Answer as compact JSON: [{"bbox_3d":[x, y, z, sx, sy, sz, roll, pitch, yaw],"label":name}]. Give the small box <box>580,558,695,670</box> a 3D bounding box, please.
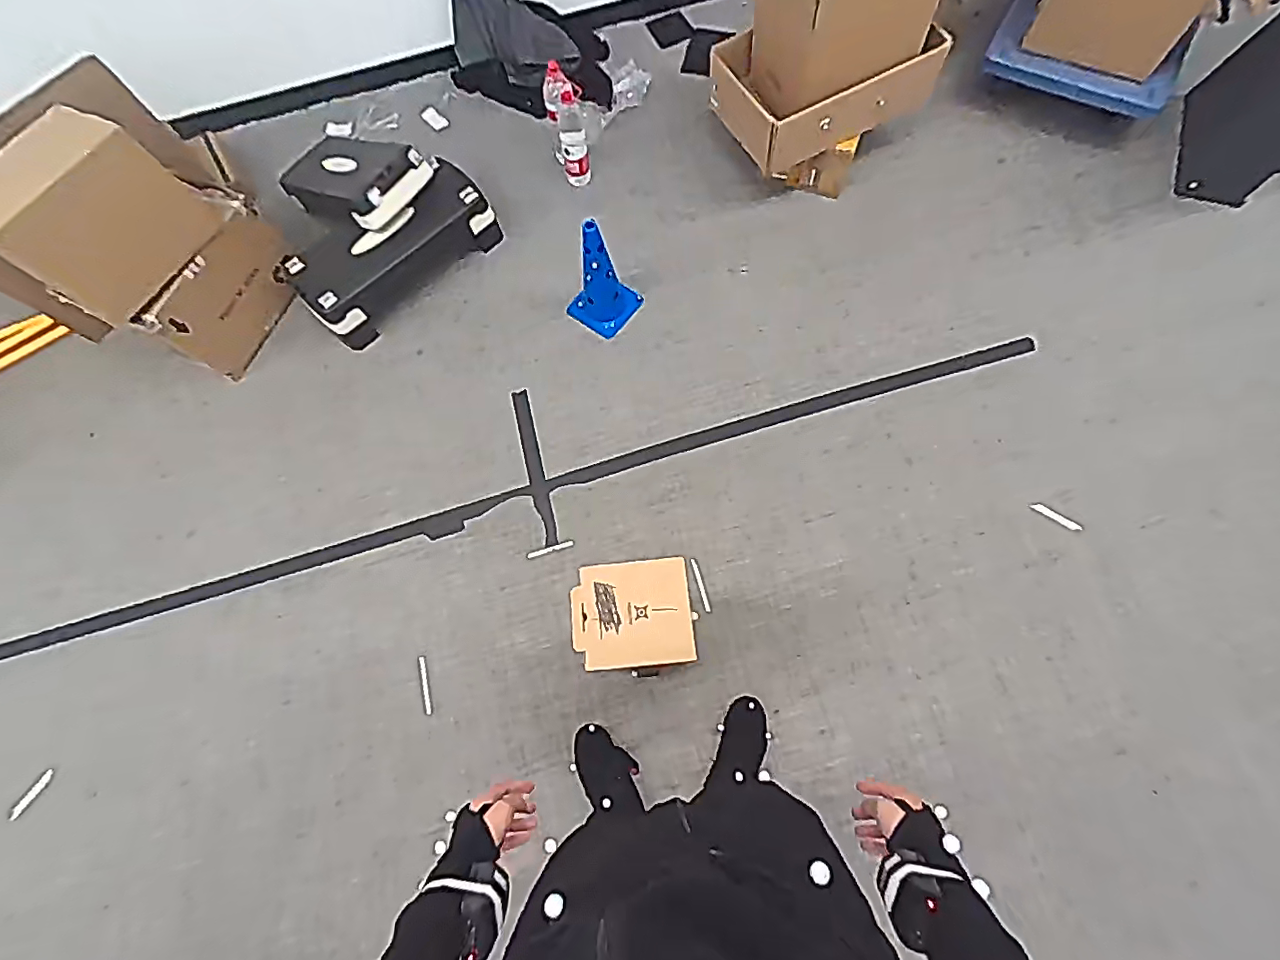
[{"bbox_3d":[-0.002,0.238,0.938,0.179,0.176,0.168,-6,71,0],"label":"small box"}]
